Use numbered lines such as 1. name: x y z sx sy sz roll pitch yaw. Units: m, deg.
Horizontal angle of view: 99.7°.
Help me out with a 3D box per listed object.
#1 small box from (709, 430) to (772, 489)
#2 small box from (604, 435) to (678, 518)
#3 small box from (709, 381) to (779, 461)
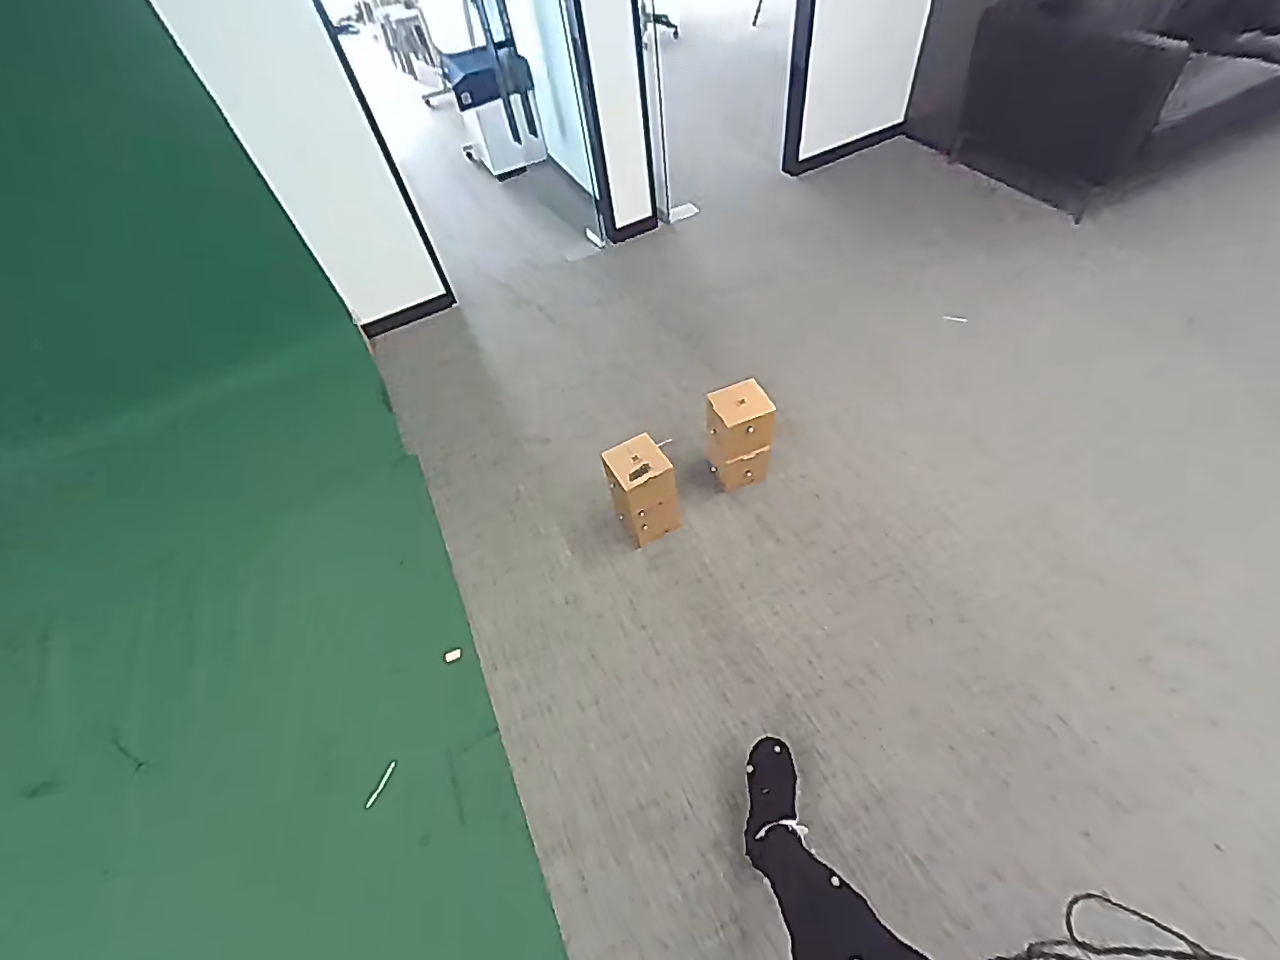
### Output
1. small box: 0.356 -0.088 1.925 0.168 0.176 0.179 -19 54 -6
2. small box: 0.008 -0.002 1.708 0.168 0.176 0.179 -27 53 -12
3. small box: 0.341 -0.194 1.803 0.179 0.176 0.168 -21 53 -6
